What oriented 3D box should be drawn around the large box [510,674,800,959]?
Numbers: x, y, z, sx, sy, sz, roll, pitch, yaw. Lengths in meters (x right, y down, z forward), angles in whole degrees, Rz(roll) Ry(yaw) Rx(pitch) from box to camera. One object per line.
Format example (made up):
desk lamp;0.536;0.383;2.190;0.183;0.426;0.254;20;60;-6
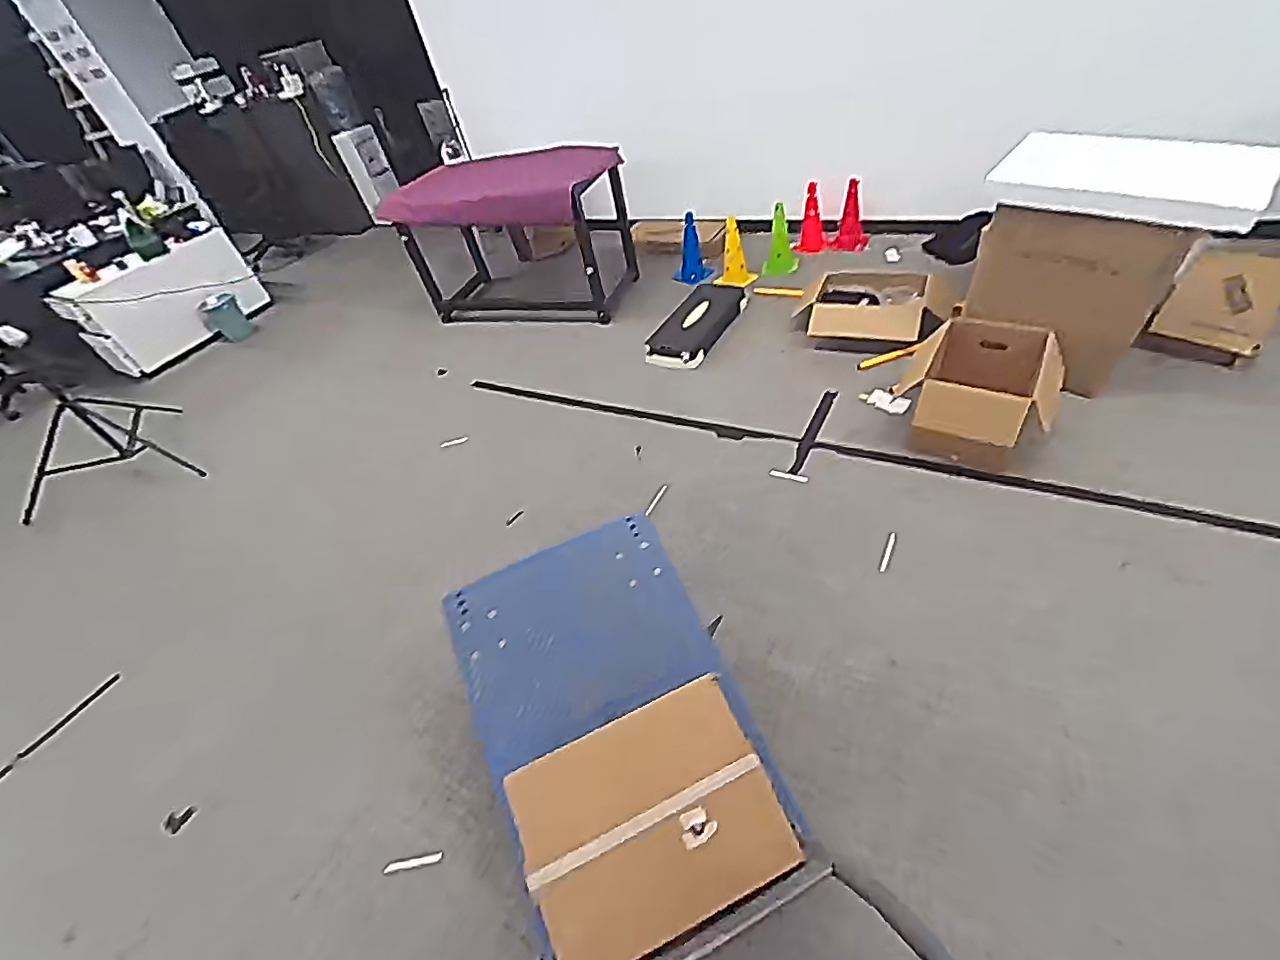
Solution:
large box;0.021;0.631;1.026;0.408;0.320;0.320;-24;63;-11
